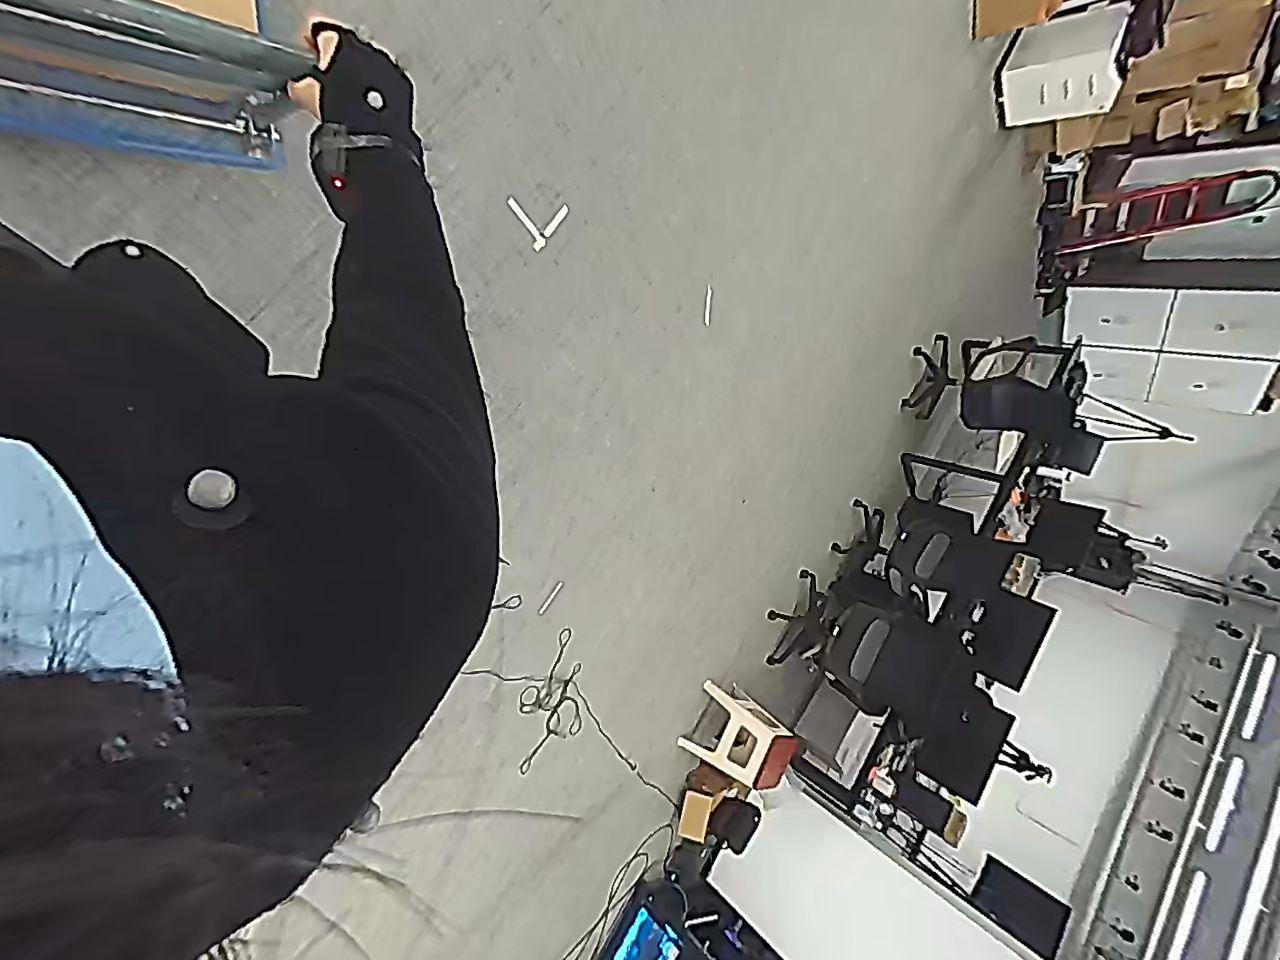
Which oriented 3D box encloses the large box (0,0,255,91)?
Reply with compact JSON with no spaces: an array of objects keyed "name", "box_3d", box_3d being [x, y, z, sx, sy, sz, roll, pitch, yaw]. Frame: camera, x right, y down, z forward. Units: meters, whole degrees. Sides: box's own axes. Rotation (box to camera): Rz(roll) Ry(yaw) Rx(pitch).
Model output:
[{"name":"large box","box_3d":[-0.775,-0.743,0.667,0.408,0.320,0.320,-16,117,-43]}]
